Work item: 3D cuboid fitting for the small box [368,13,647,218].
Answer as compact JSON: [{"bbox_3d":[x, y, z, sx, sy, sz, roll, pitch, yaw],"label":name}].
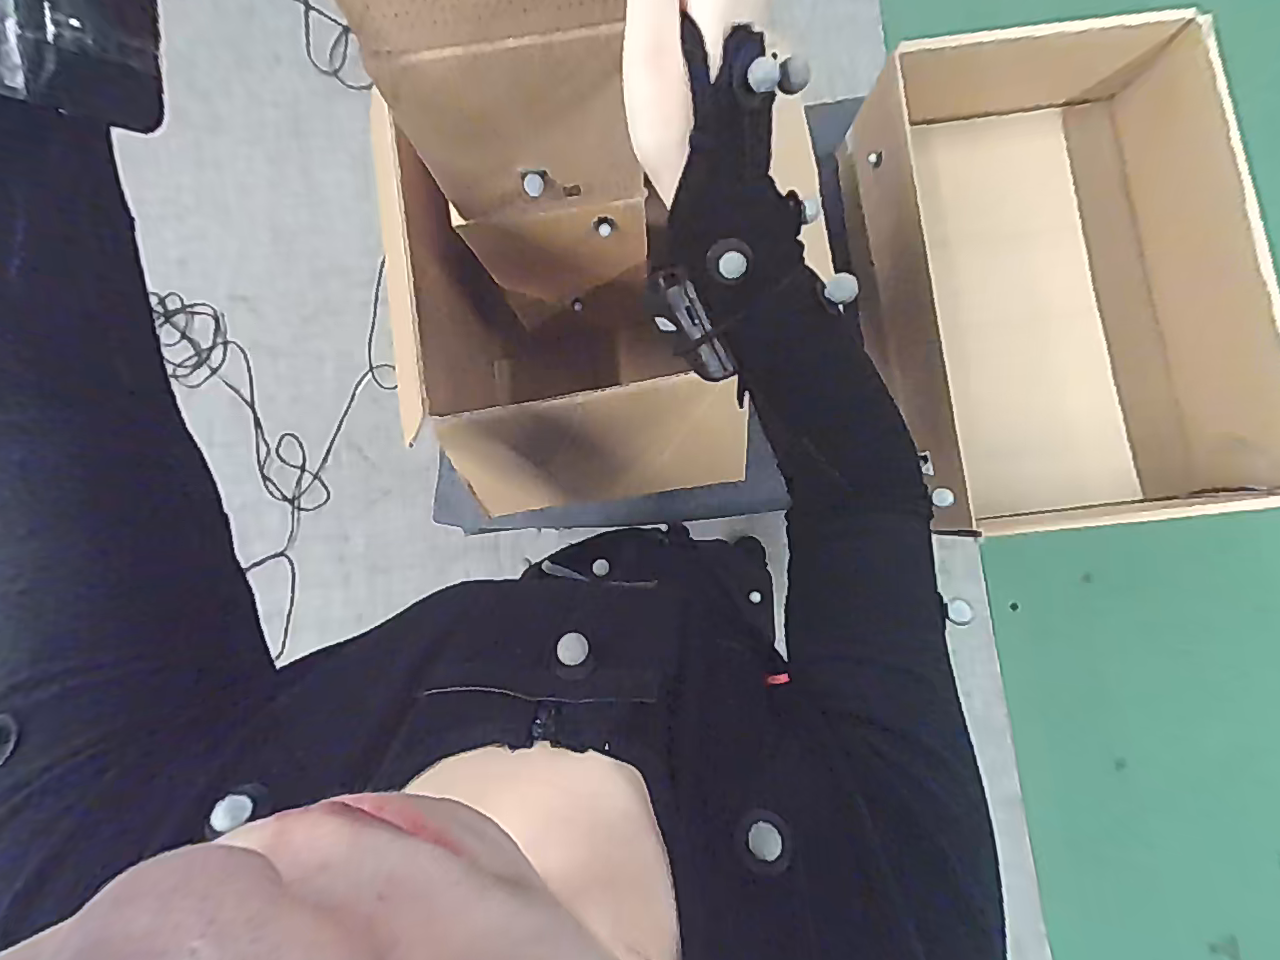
[{"bbox_3d":[-0.086,-0.331,0.405,0.168,0.176,0.179,-7,87,1],"label":"small box"}]
